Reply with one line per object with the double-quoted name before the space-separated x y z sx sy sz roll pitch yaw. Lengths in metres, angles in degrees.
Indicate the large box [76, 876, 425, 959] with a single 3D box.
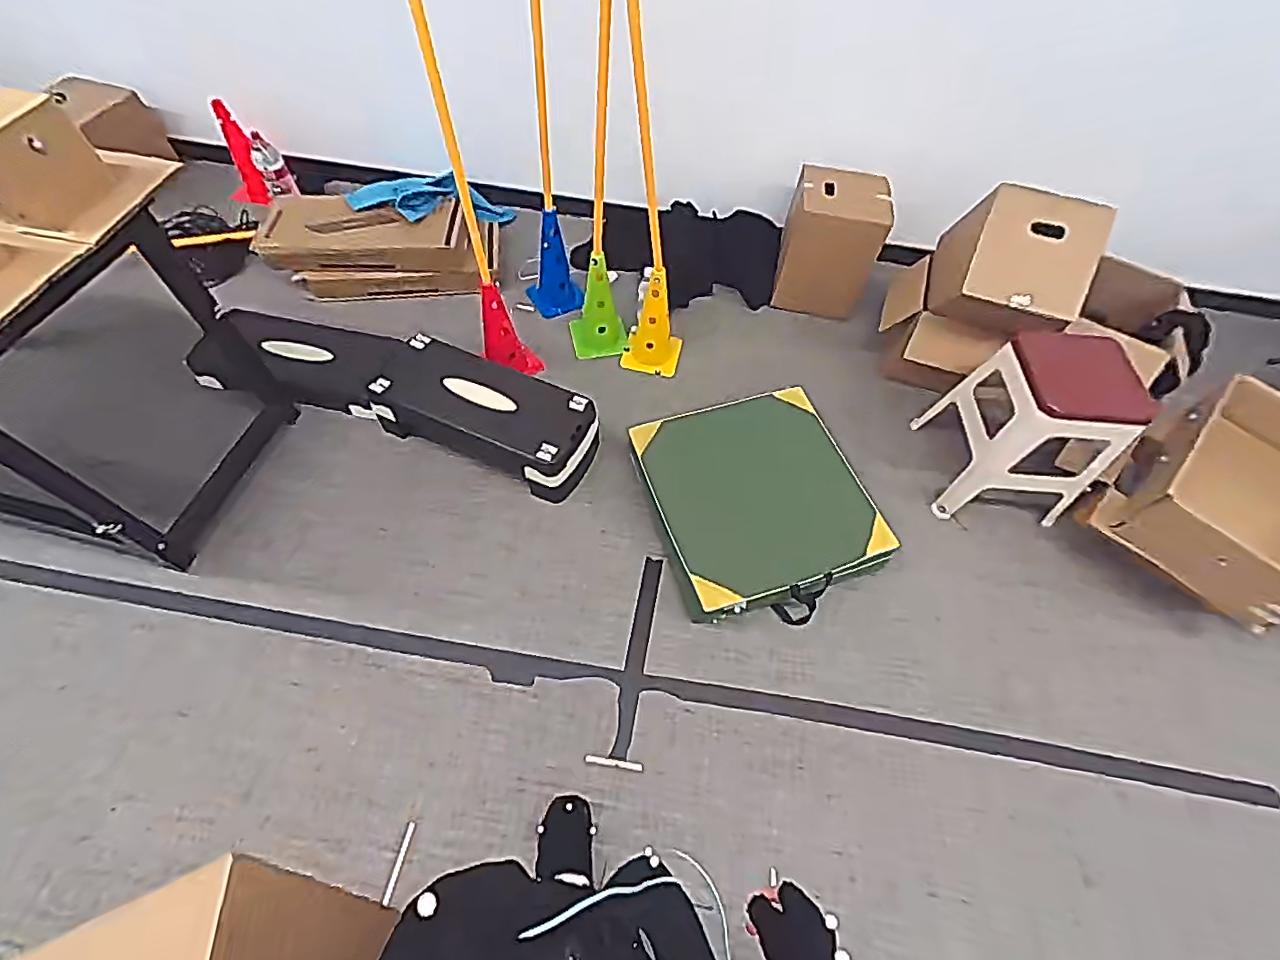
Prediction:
"large box" -0.486 0.732 0.611 0.320 0.408 0.320 -24 40 -4
